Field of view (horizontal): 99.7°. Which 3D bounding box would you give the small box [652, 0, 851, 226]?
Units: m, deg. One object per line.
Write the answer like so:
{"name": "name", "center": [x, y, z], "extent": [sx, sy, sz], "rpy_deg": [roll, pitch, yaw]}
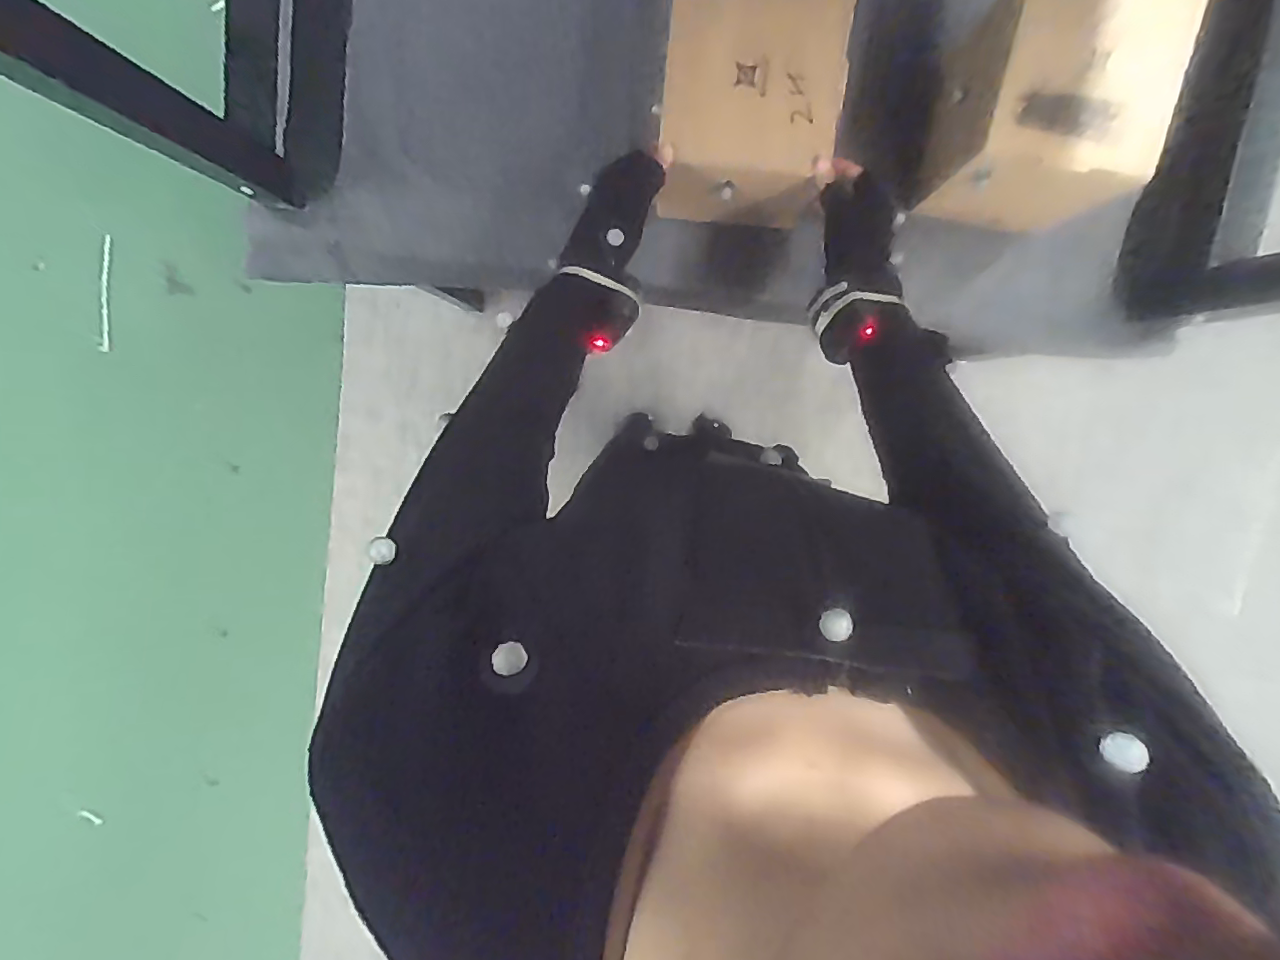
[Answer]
{"name": "small box", "center": [0.110, -0.401, 0.607], "extent": [0.179, 0.176, 0.168], "rpy_deg": [6, 99, 1]}
